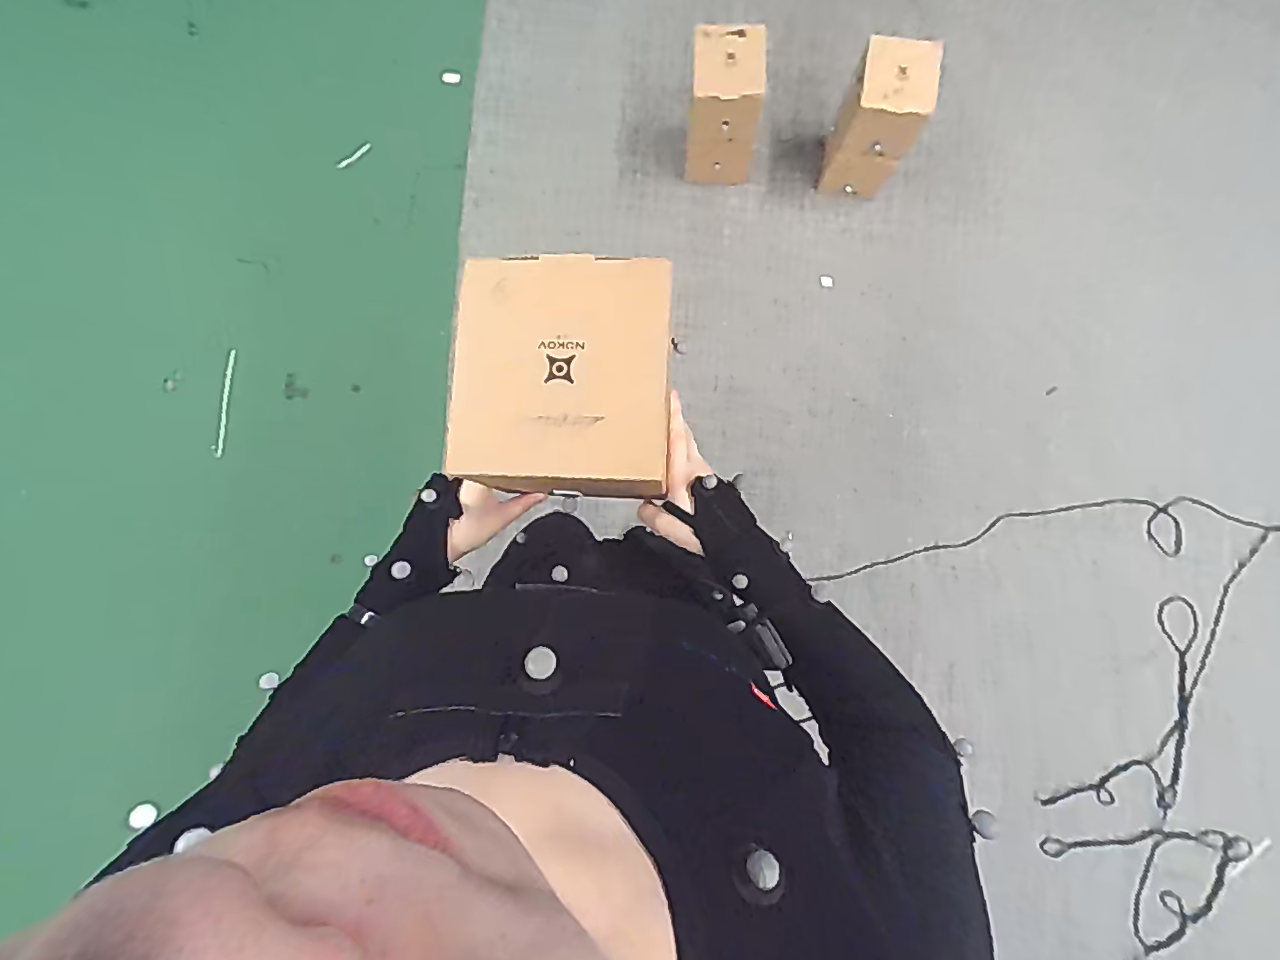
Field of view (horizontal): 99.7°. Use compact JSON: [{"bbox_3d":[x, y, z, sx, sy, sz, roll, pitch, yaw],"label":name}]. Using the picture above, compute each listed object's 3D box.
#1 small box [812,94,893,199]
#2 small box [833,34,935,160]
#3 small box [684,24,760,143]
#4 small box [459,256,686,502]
[{"bbox_3d":[0.581,-0.902,1.466,0.168,0.176,0.179,10,88,2],"label":"small box"},{"bbox_3d":[0.579,-0.914,1.302,0.168,0.176,0.179,8,88,3],"label":"small box"},{"bbox_3d":[0.194,-0.954,1.316,0.168,0.176,0.179,1,87,2],"label":"small box"},{"bbox_3d":[-0.047,-0.077,0.492,0.168,0.176,0.179,2,83,4],"label":"small box"}]
